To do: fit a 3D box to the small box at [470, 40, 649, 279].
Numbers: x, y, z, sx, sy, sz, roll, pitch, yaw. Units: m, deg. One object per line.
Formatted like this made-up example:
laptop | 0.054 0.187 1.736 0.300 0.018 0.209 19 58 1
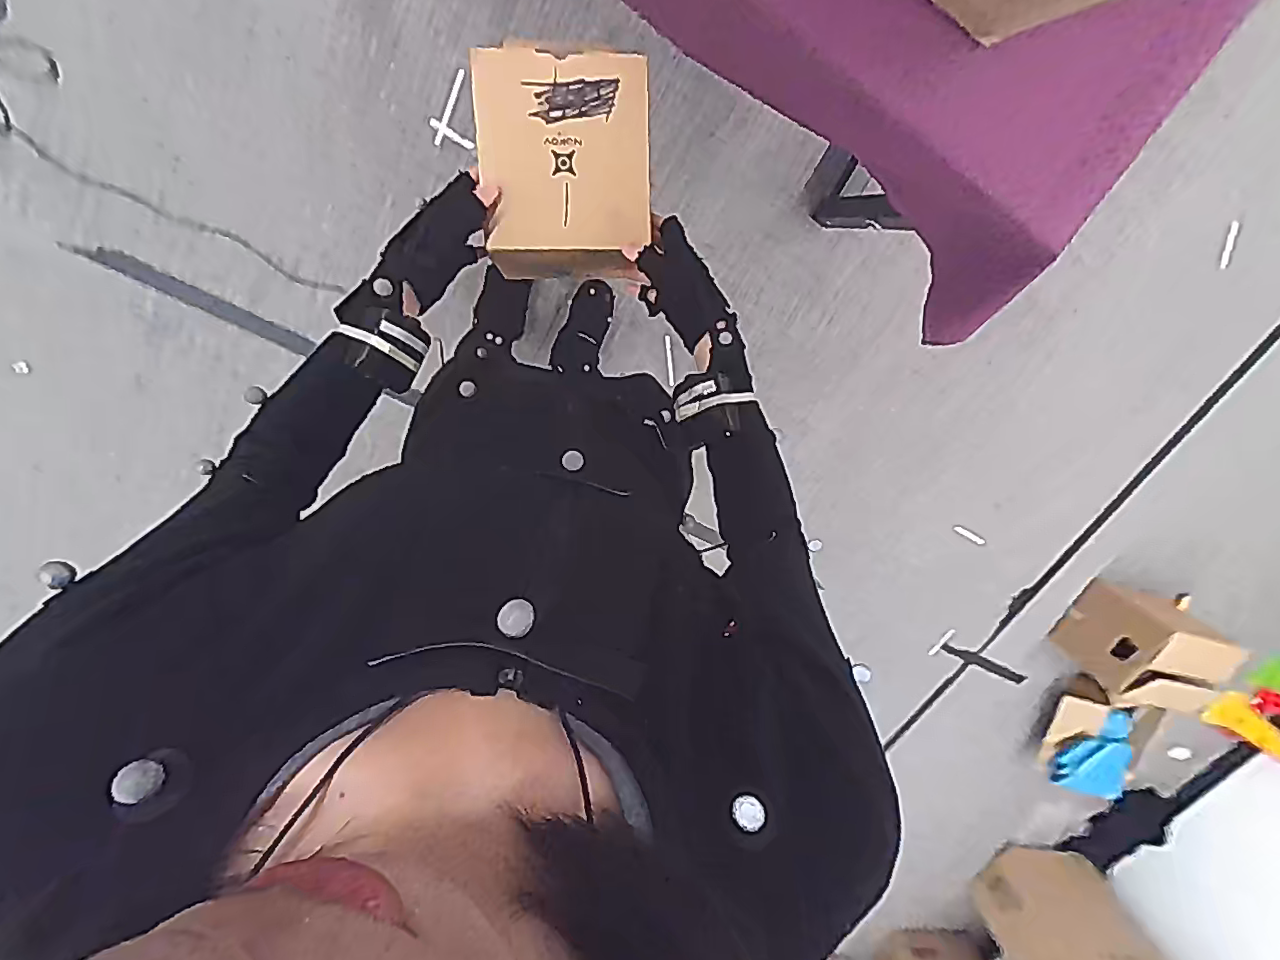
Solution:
small box | -0.084 -0.328 0.589 0.168 0.176 0.179 -3 101 -7
